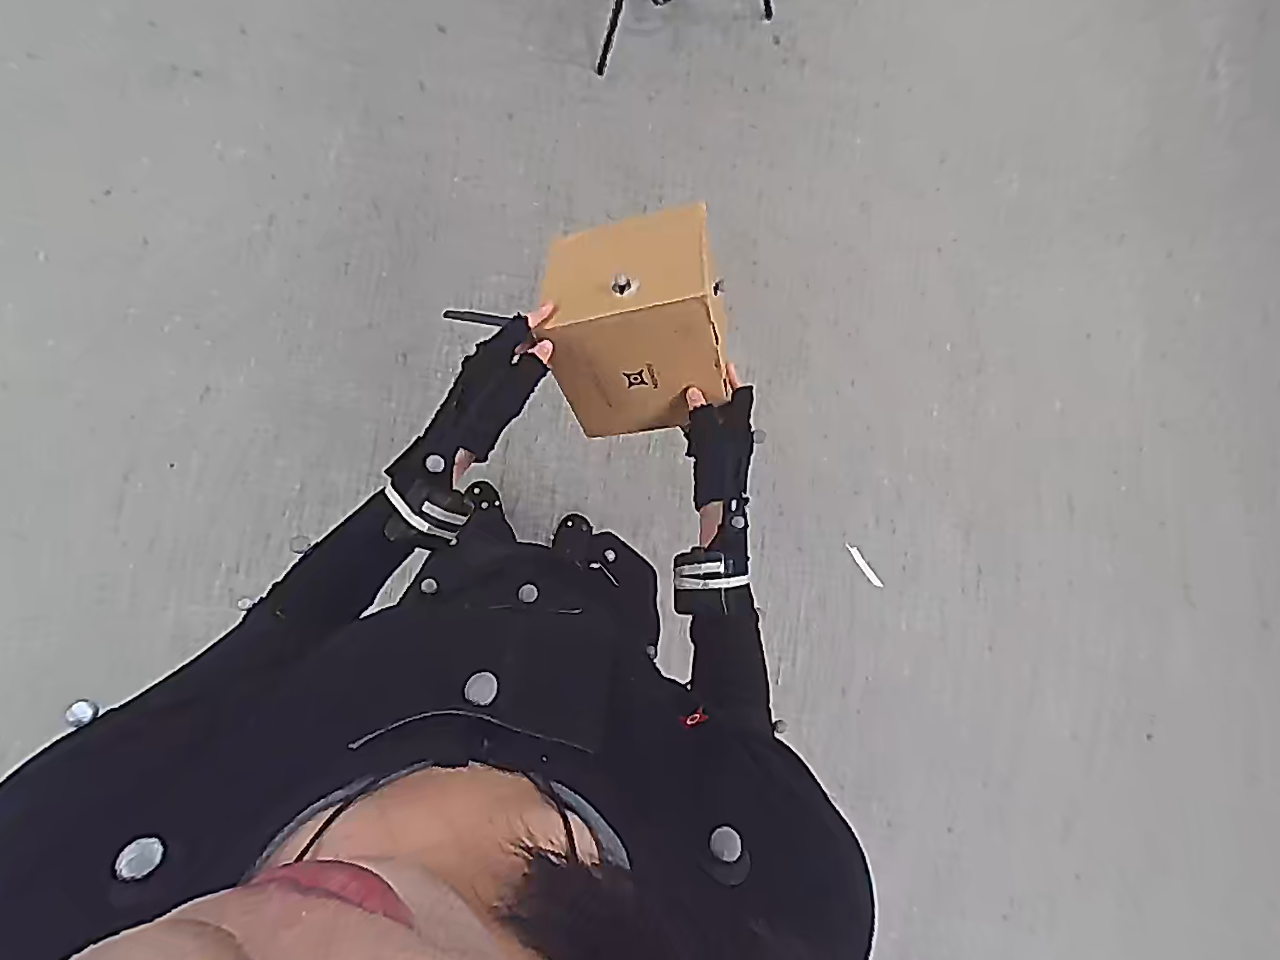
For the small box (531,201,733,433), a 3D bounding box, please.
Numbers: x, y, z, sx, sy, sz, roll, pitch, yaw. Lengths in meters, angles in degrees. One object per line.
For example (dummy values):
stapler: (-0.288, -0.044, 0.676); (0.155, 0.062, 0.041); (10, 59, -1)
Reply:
small box: (0.001, -0.178, 0.599); (0.179, 0.168, 0.176); (-8, 51, 14)
